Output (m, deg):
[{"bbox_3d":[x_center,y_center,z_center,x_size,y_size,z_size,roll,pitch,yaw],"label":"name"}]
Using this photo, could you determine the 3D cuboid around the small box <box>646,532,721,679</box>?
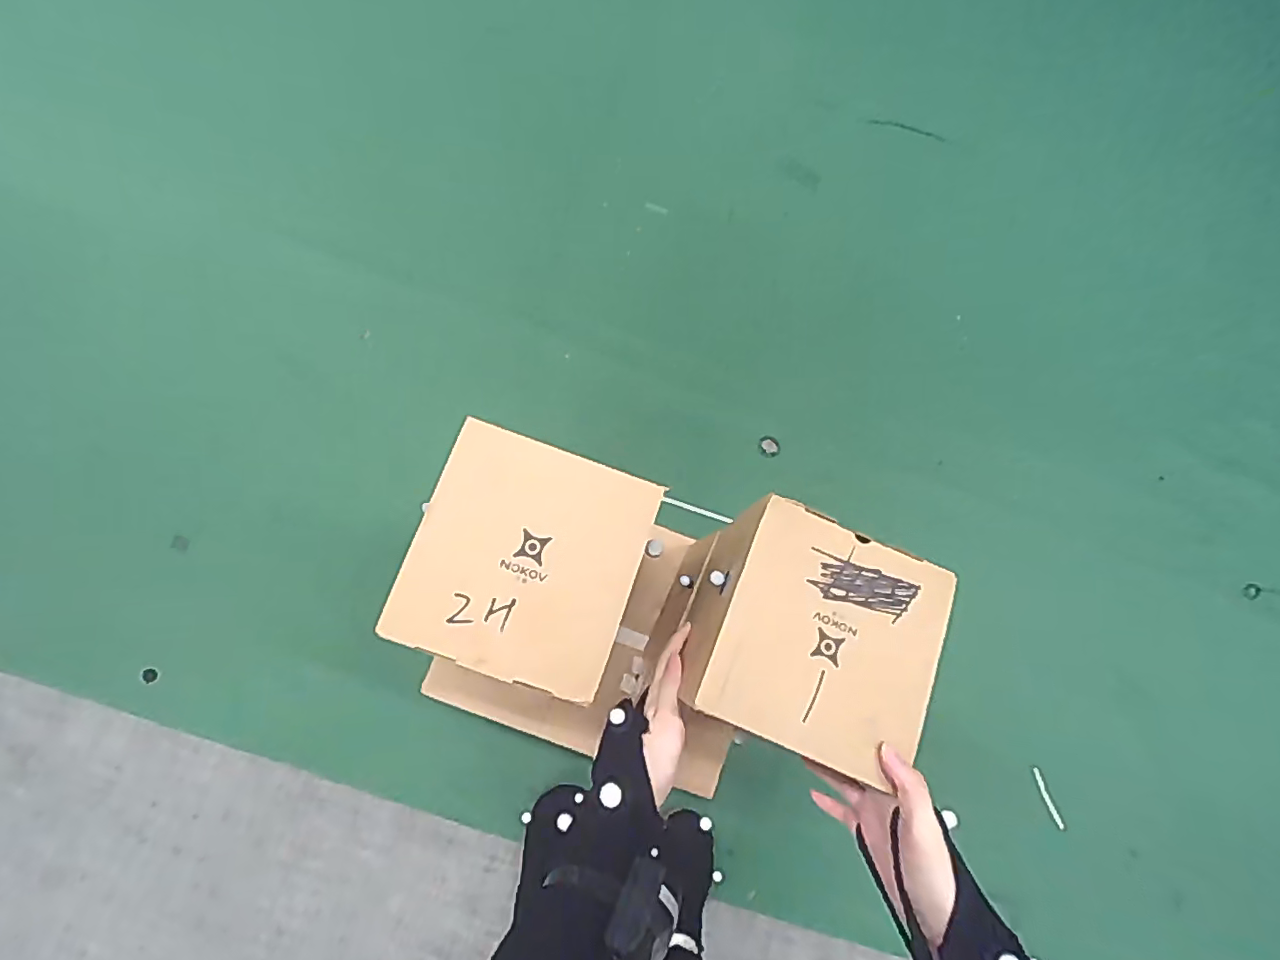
[{"bbox_3d":[0.121,0.176,0.644,0.179,0.176,0.168,25,77,1],"label":"small box"}]

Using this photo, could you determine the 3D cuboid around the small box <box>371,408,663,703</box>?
[{"bbox_3d":[-0.095,0.066,0.476,0.168,0.176,0.179,20,78,-2],"label":"small box"}]

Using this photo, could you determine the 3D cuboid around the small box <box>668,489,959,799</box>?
[{"bbox_3d":[0.135,0.135,0.477,0.168,0.176,0.179,24,74,2],"label":"small box"}]

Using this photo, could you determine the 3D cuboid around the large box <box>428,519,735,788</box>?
[{"bbox_3d":[-0.055,0.222,0.867,0.408,0.320,0.320,21,79,-2],"label":"large box"}]
